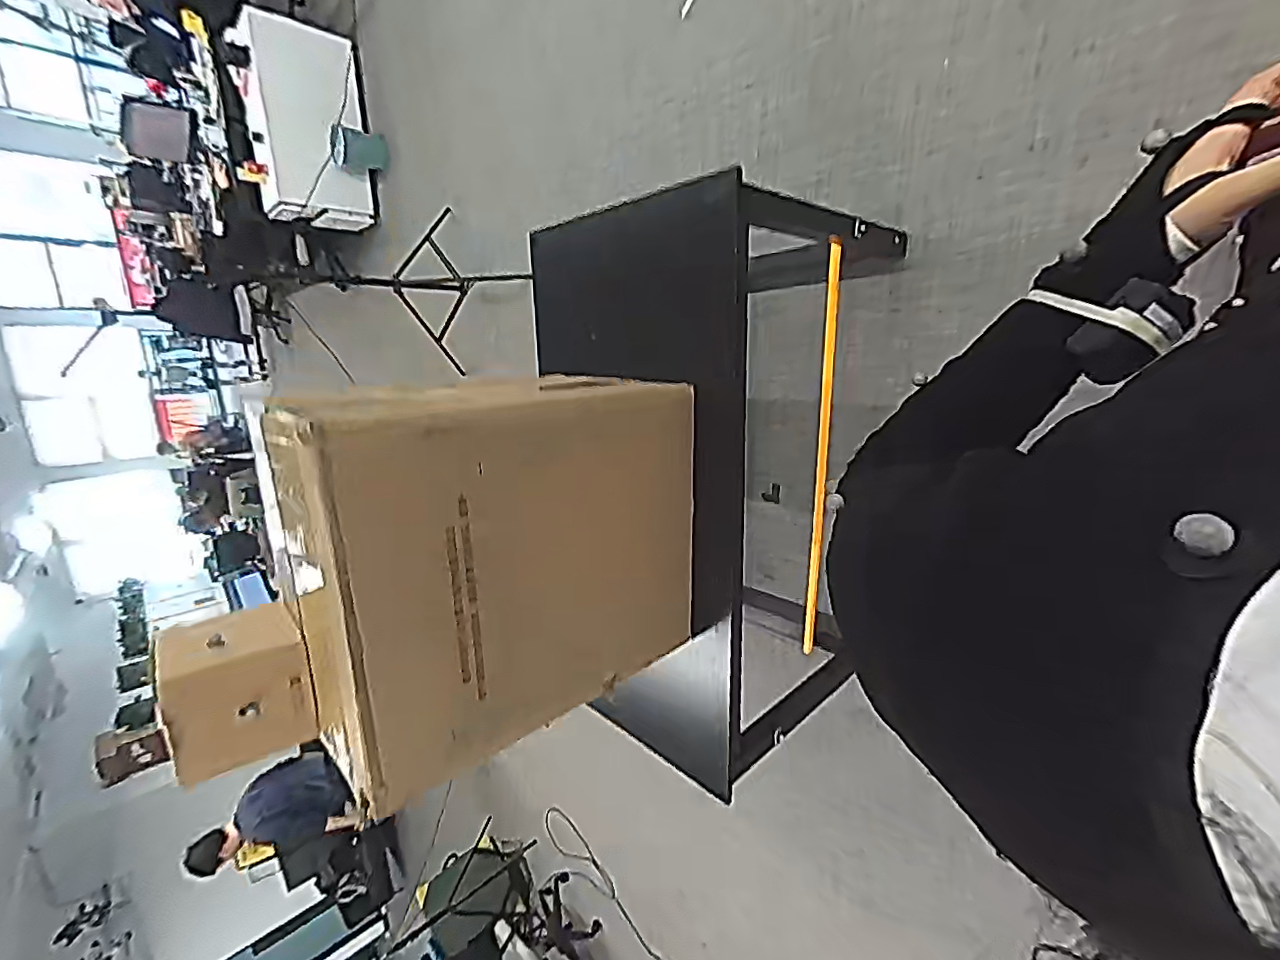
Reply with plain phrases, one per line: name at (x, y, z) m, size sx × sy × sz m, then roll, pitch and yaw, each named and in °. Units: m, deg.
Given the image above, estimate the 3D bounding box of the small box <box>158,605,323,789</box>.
small box at (-0.592, 0.307, 0.812) m, size 0.179 × 0.176 × 0.168 m, roll 14°, pitch 110°, yaw 47°
